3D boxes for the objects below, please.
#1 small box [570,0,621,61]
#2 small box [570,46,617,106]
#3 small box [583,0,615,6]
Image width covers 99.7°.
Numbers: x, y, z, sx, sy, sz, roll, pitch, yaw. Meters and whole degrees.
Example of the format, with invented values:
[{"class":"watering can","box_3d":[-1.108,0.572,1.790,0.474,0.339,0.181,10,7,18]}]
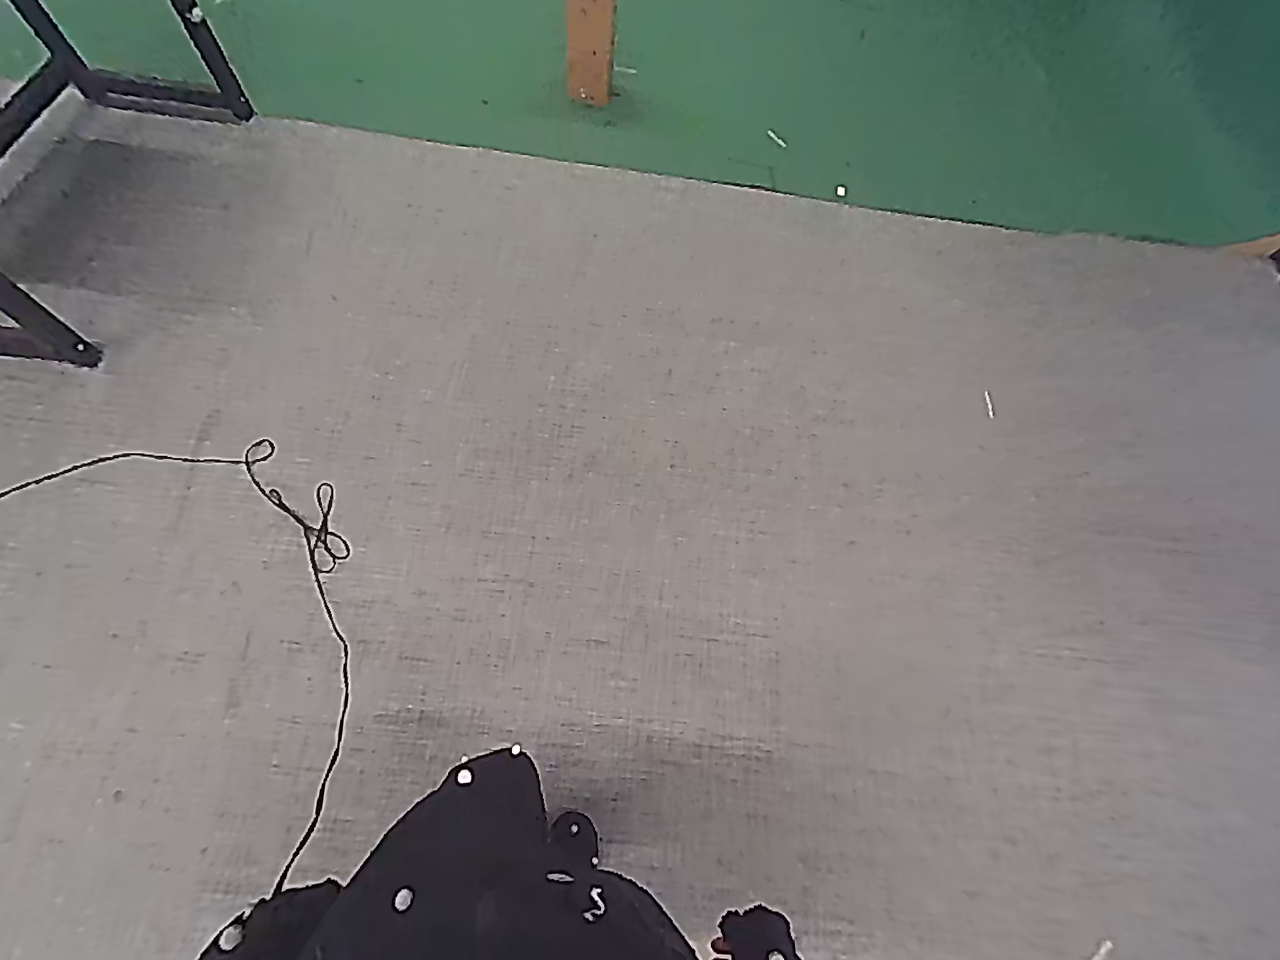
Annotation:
[{"class":"small box","box_3d":[-0.169,-1.739,2.047,0.168,0.176,0.179,9,64,-1]},{"class":"small box","box_3d":[-0.188,-1.666,2.192,0.168,0.176,0.179,8,66,-1]},{"class":"small box","box_3d":[-0.157,-1.815,1.901,0.168,0.176,0.179,9,63,-2]}]
